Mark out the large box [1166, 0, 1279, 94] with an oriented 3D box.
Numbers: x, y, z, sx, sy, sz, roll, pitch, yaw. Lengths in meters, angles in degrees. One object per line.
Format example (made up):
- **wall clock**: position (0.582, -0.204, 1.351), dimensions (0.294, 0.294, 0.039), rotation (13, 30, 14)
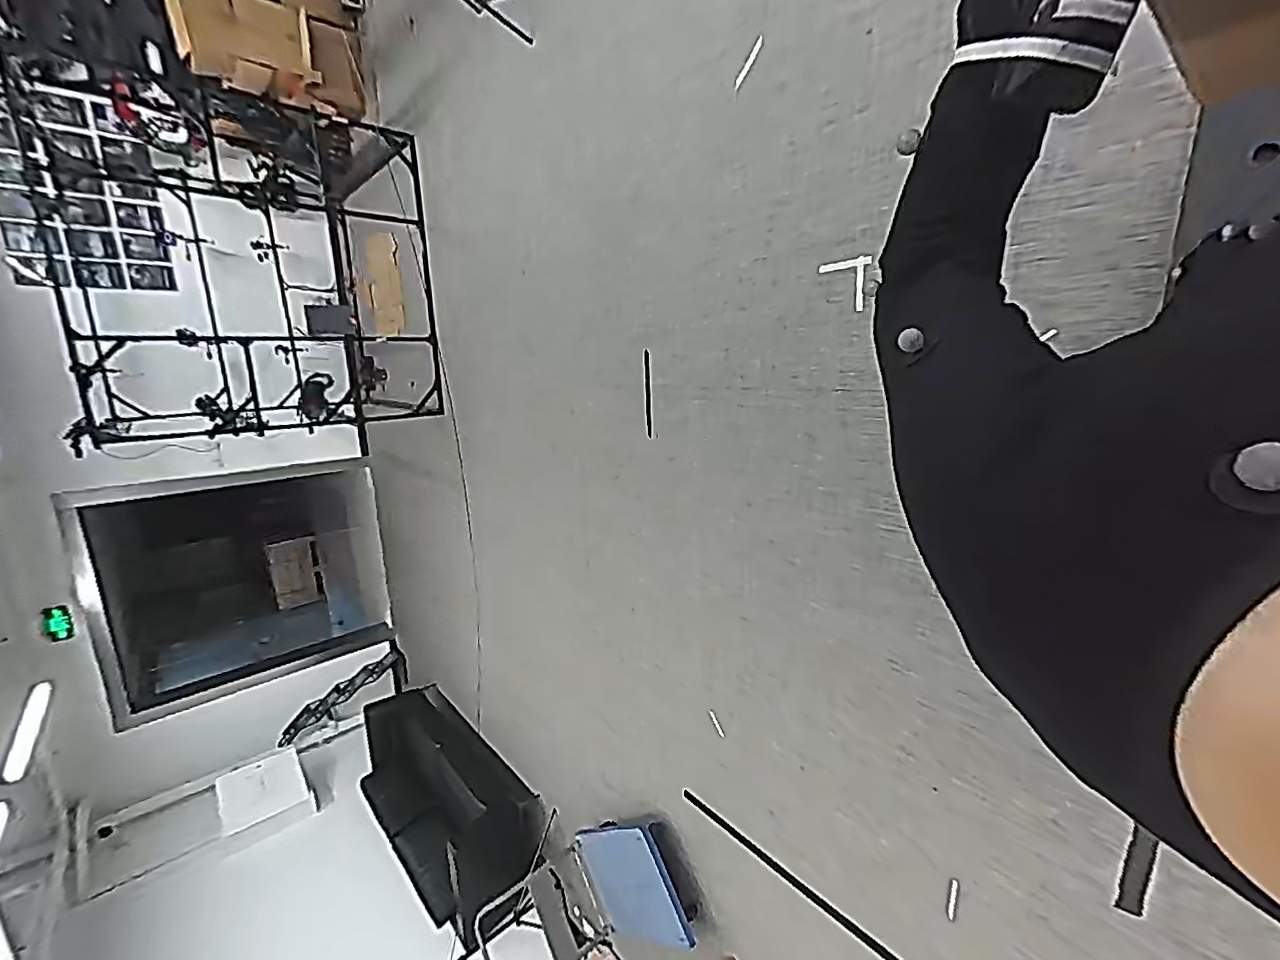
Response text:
- **large box**: position (0.525, -0.454, 0.232), dimensions (0.408, 0.320, 0.320), rotation (11, 109, 48)
